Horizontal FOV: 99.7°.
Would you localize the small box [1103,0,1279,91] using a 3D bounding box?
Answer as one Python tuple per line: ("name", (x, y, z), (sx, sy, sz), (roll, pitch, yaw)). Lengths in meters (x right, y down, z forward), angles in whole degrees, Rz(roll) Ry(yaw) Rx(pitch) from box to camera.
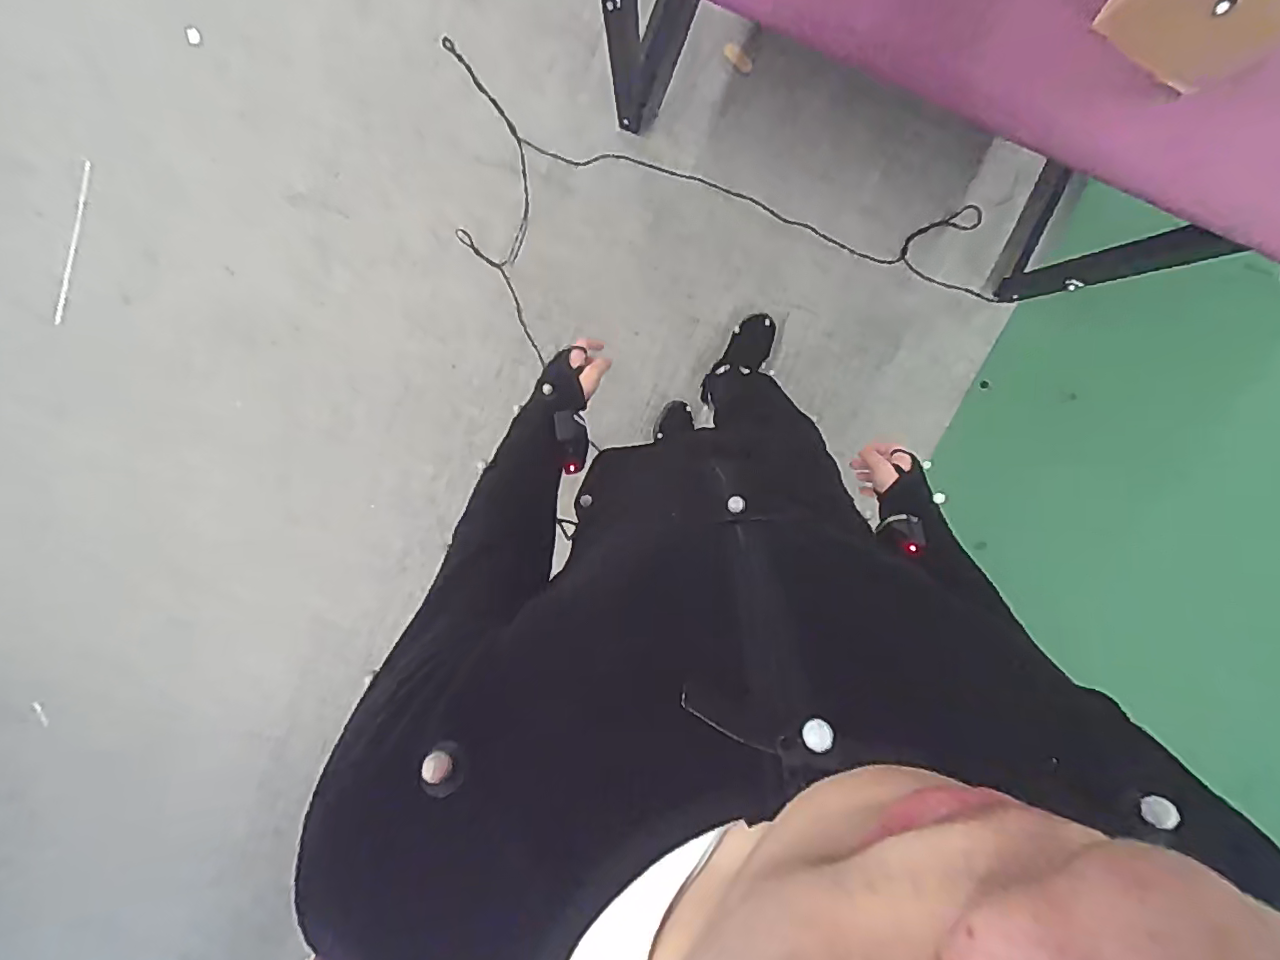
("small box", (0.740, -0.632, 0.661), (0.179, 0.176, 0.168), (33, 100, -5))
